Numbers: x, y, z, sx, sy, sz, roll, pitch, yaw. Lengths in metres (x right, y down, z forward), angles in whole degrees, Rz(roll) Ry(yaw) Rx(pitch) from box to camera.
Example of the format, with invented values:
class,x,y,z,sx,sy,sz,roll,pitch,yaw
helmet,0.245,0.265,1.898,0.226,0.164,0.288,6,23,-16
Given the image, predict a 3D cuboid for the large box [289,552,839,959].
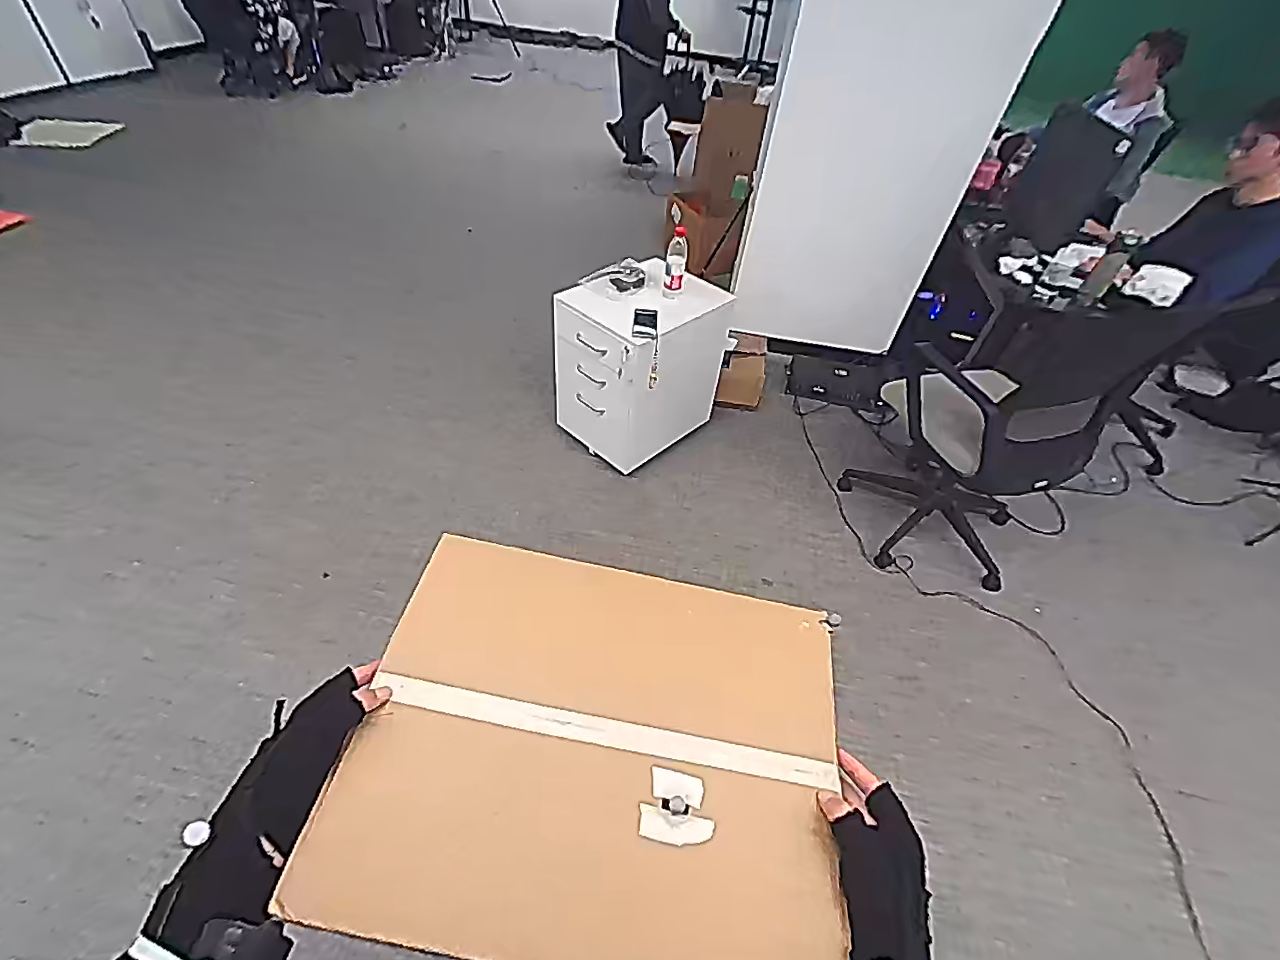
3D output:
class,x,y,z,sx,sy,sz,roll,pitch,yaw
large box,-0.052,0.318,0.585,0.408,0.320,0.320,12,51,0
